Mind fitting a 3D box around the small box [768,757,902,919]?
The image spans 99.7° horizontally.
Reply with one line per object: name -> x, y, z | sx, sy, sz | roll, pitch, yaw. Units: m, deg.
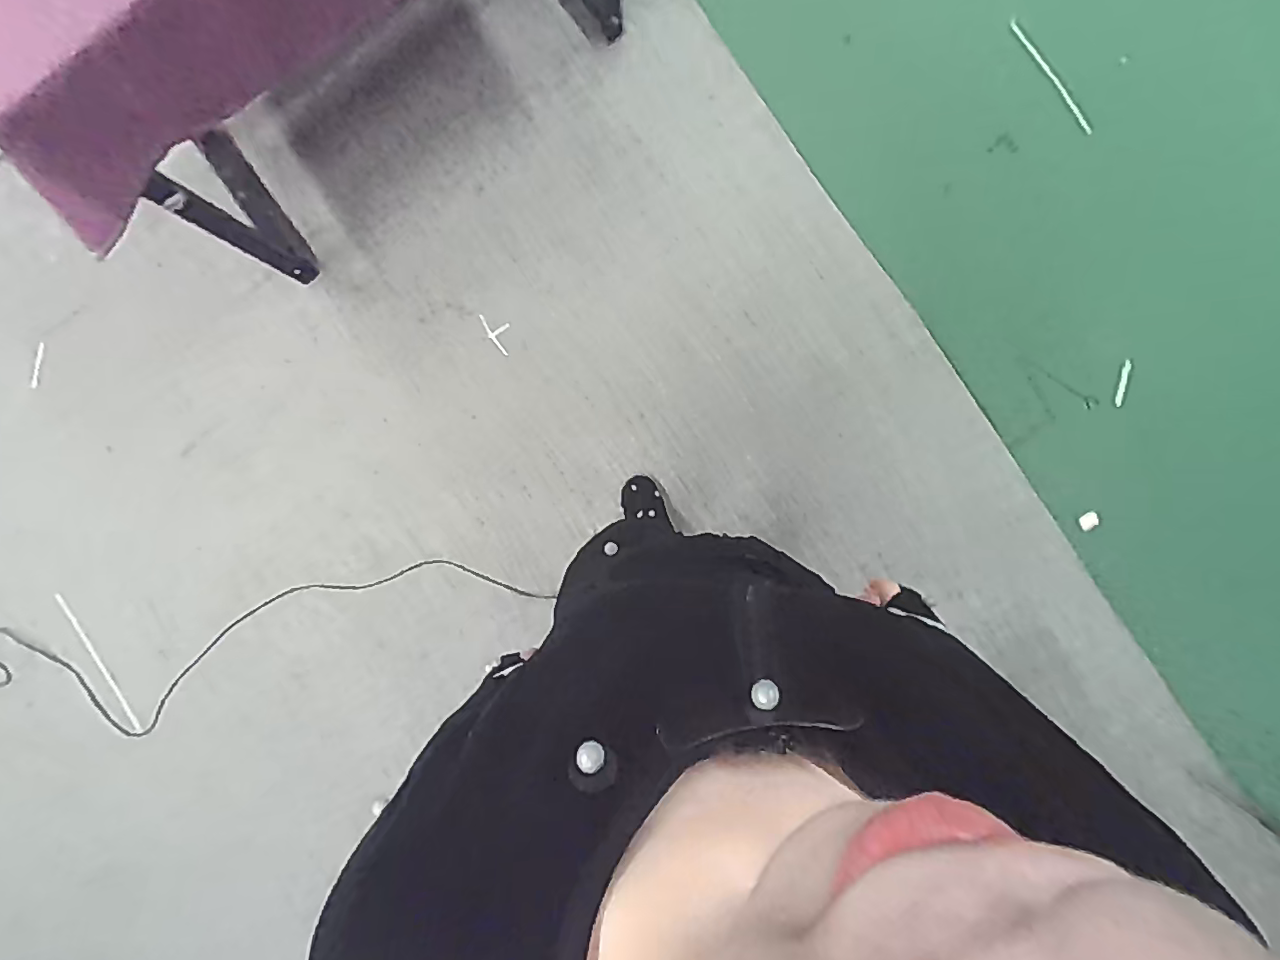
small box -> 0.374, 0.696, 1.070 | 0.168, 0.176, 0.179 | -28, 89, 3
